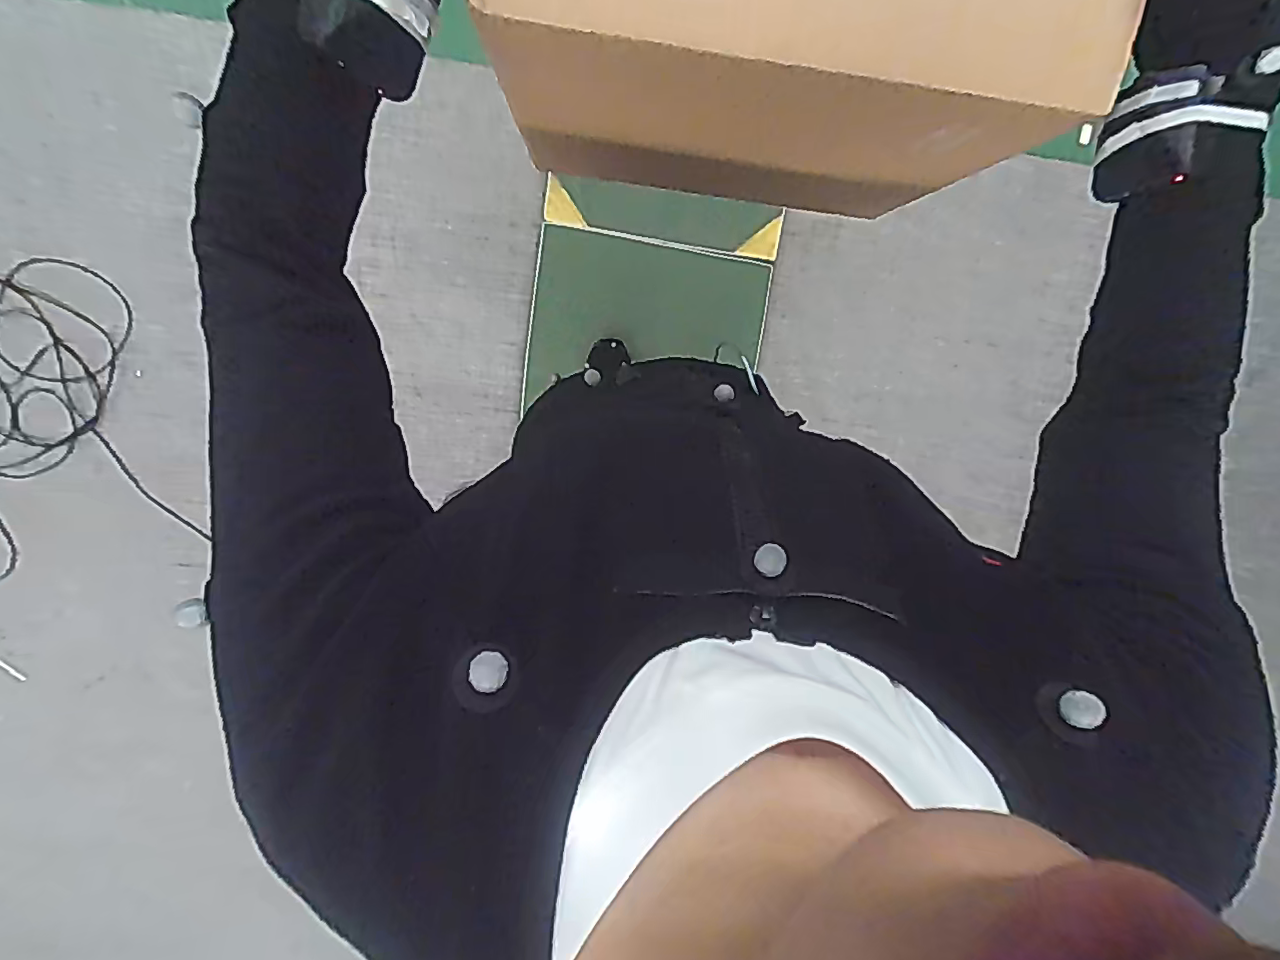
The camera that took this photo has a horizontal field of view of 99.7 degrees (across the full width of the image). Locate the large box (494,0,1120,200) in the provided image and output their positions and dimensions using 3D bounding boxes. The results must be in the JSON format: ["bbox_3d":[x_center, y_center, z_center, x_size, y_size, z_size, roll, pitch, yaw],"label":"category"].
[{"bbox_3d":[0.106,-0.453,0.445,0.408,0.320,0.320,4,105,-6],"label":"large box"}]
